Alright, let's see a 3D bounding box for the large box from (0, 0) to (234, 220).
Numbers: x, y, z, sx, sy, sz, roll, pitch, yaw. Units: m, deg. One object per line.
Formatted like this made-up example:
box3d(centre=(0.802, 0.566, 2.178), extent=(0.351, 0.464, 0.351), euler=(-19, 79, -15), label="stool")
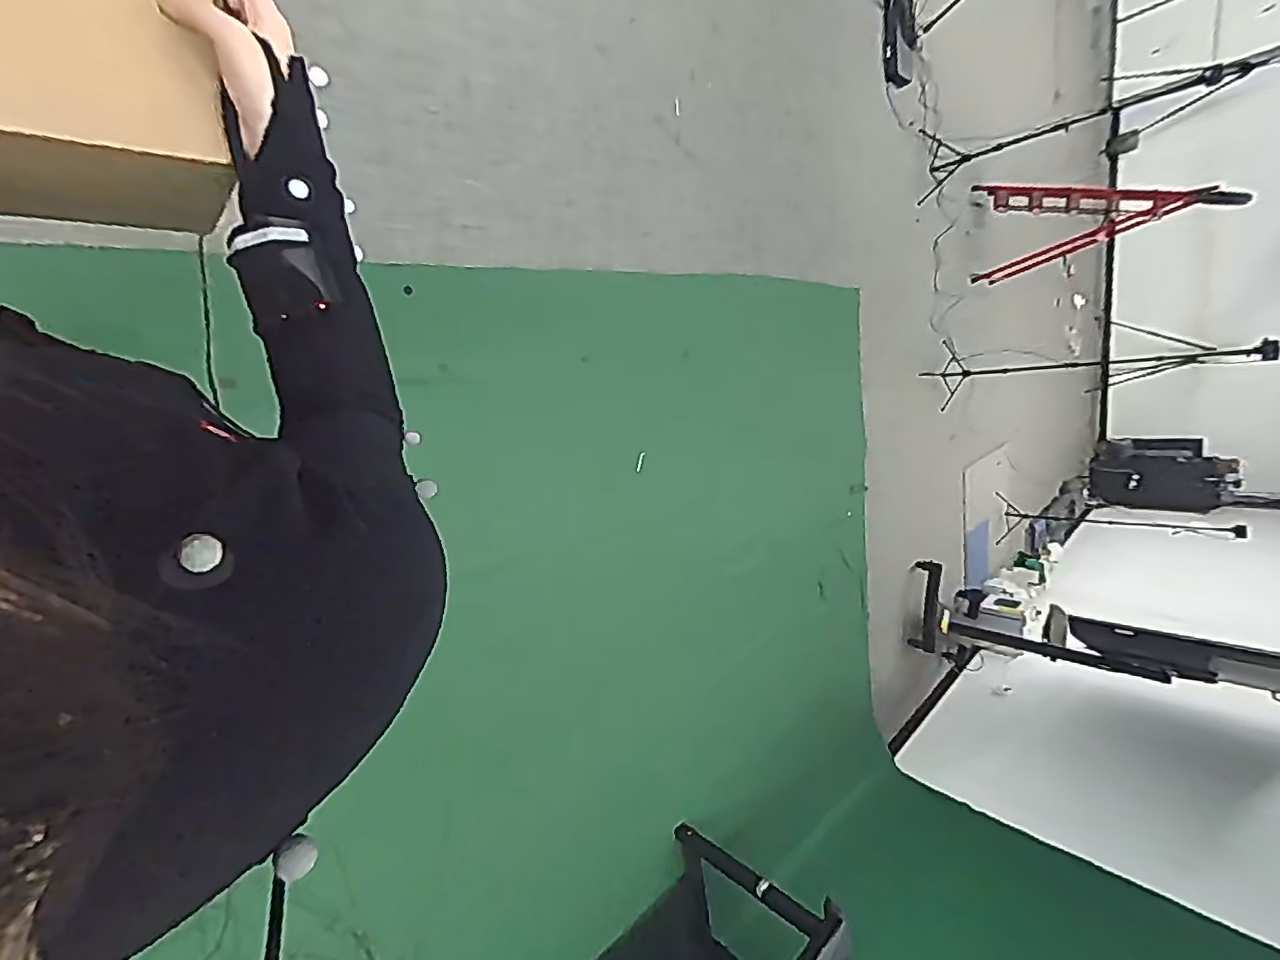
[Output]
box3d(centre=(-0.555, -0.377, 0.358), extent=(0.408, 0.320, 0.320), euler=(-13, 109, -38), label="large box")
